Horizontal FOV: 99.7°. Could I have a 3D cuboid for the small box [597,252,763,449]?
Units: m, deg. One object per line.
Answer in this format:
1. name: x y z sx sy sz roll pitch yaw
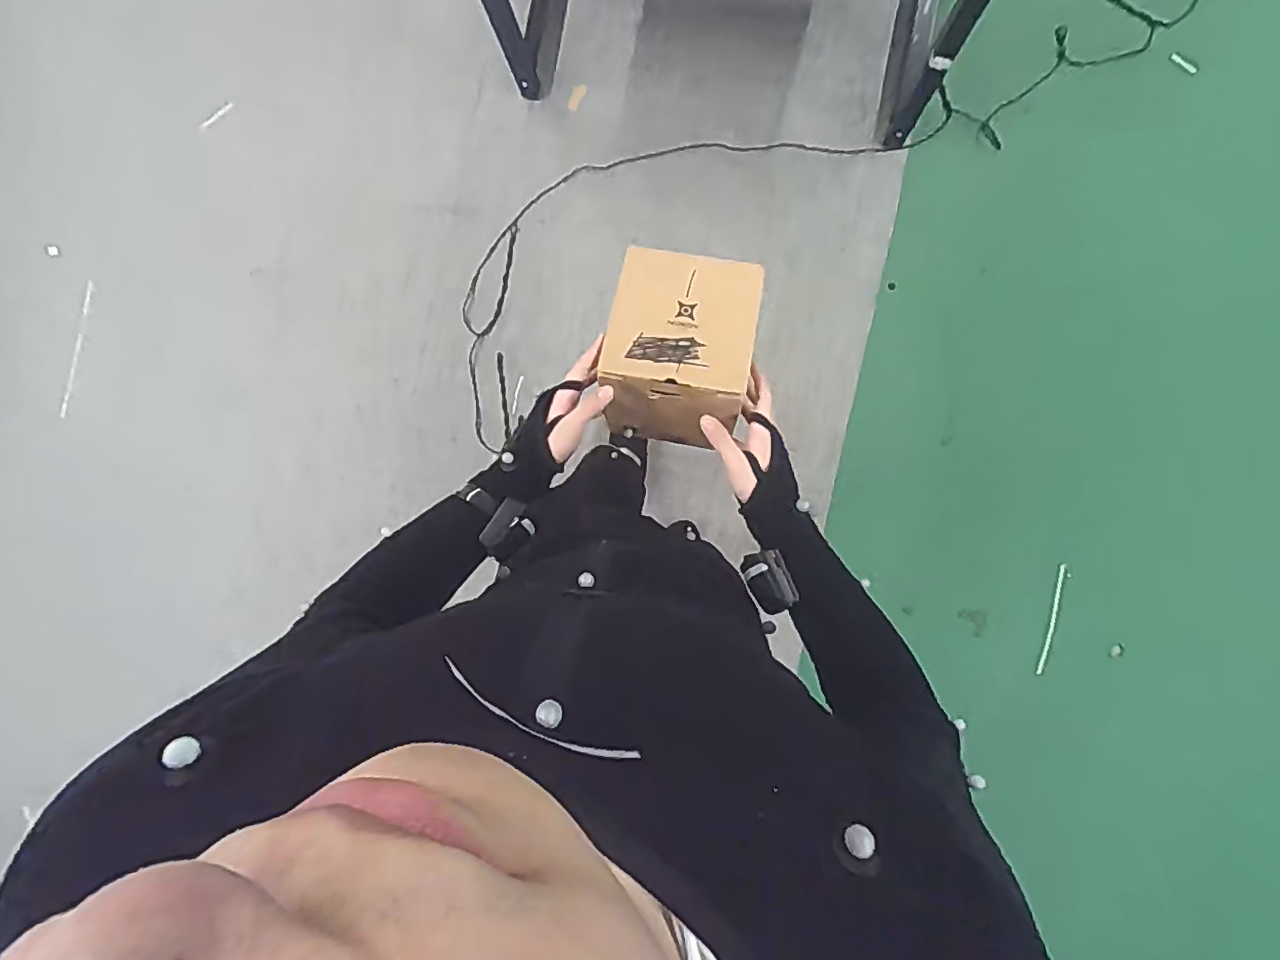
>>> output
1. small box: 0.052 -0.154 0.690 0.168 0.176 0.179 10 72 5
